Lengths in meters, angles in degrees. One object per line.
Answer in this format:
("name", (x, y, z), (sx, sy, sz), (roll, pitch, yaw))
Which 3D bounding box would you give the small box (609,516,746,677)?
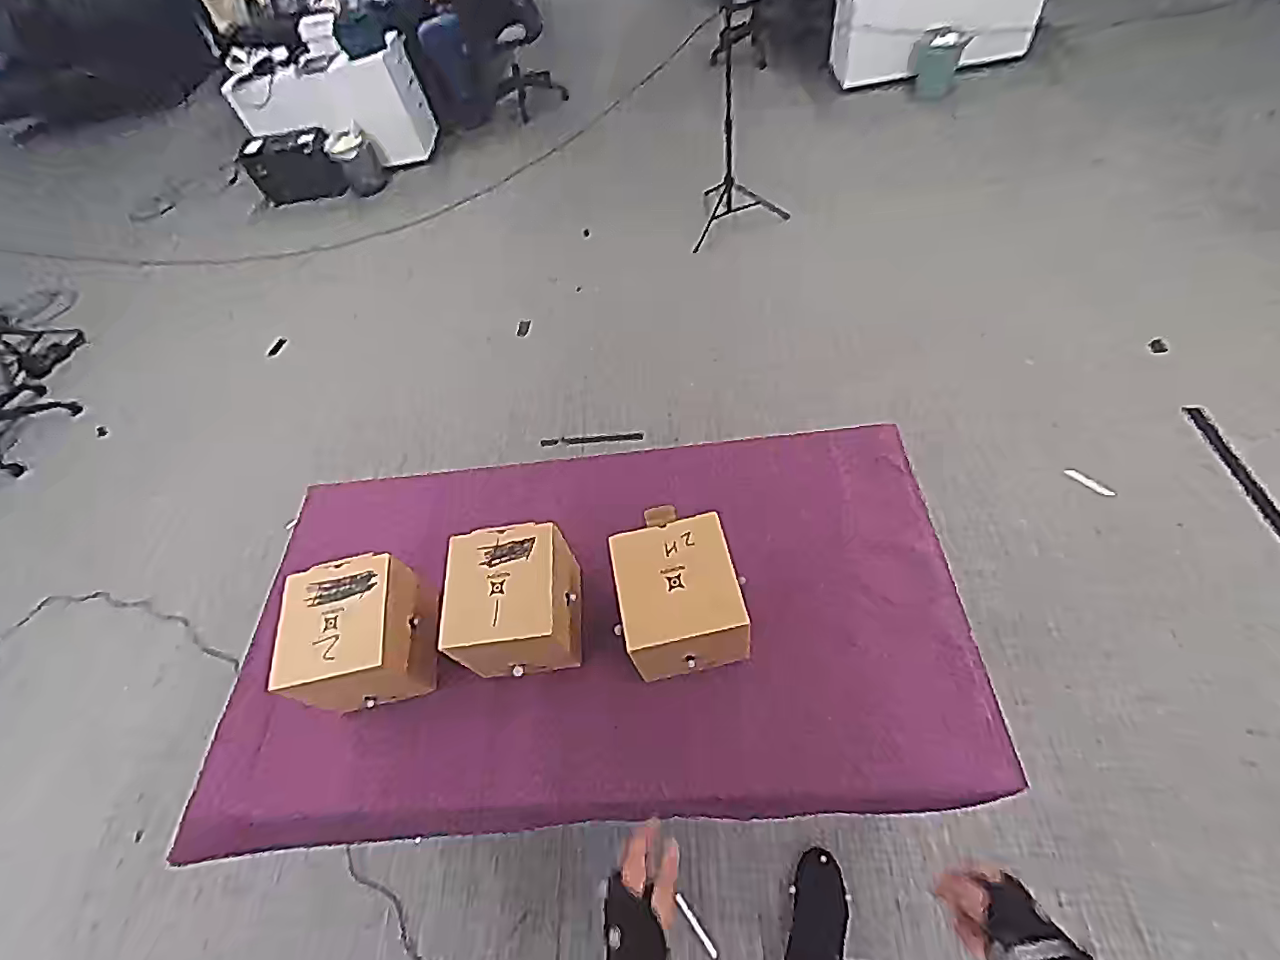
("small box", (0.060, 0.184, 0.815), (0.168, 0.176, 0.179), (-13, 55, 1))

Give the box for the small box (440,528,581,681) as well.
("small box", (-0.191, 0.199, 0.851), (0.168, 0.176, 0.179), (-9, 56, 4))
